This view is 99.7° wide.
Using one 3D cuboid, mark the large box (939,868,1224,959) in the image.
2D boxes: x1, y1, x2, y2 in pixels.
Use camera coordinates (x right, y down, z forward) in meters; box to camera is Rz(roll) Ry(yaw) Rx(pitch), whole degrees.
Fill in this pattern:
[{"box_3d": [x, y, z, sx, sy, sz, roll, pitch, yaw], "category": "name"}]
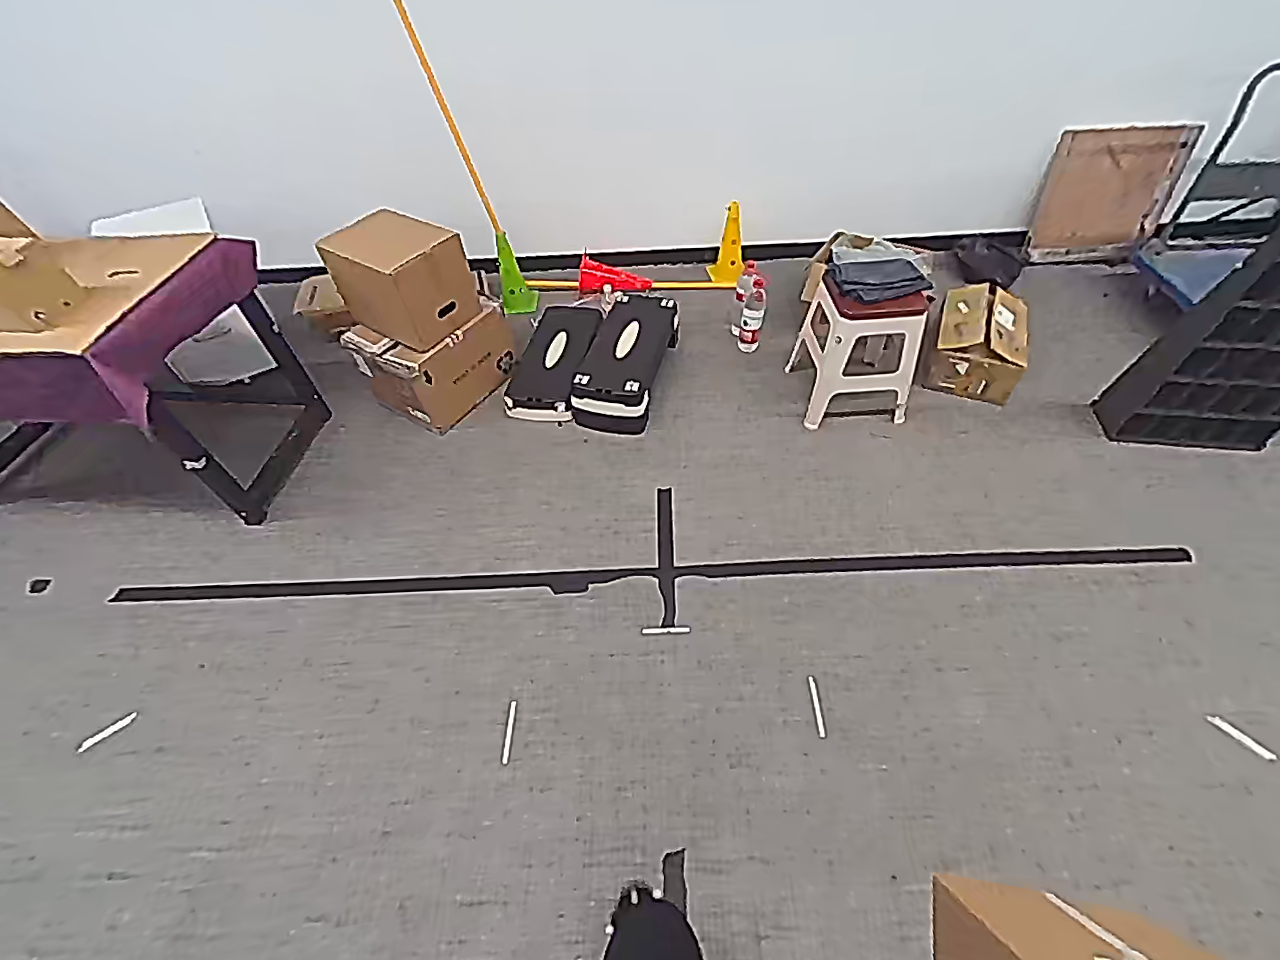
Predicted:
[{"box_3d": [0.569, 0.717, 0.601, 0.320, 0.408, 0.320, 6, 74, 11], "category": "large box"}]
